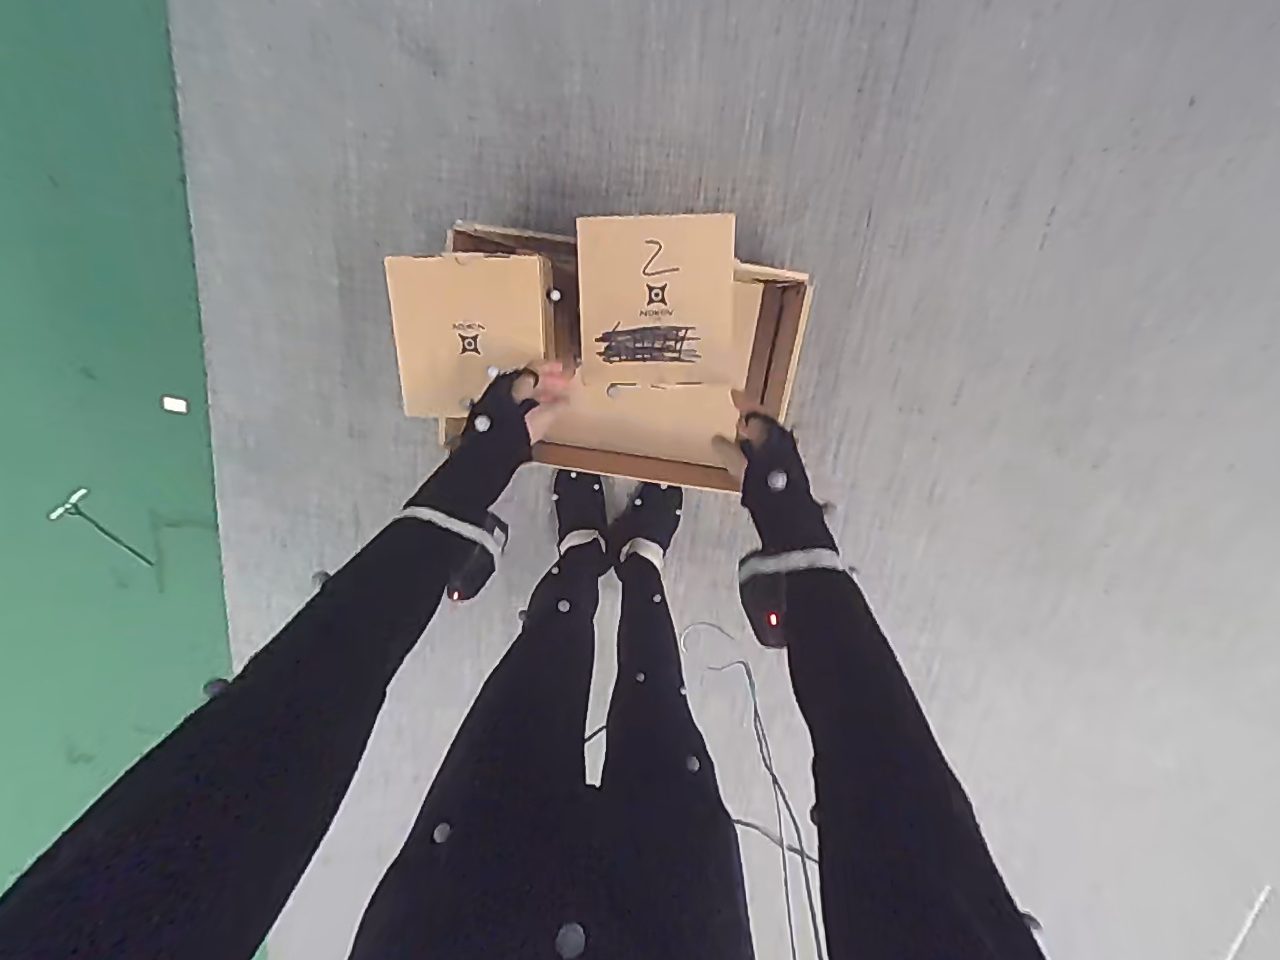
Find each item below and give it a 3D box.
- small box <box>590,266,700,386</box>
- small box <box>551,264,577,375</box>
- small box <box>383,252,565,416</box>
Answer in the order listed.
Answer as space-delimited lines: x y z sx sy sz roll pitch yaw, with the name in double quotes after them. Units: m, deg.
0.011 -0.276 0.977 0.168 0.176 0.179 9 107 2 "small box"
-0.193 -0.243 0.823 0.179 0.176 0.168 4 107 1 "small box"
-0.189 -0.182 0.671 0.168 0.176 0.179 1 107 2 "small box"
